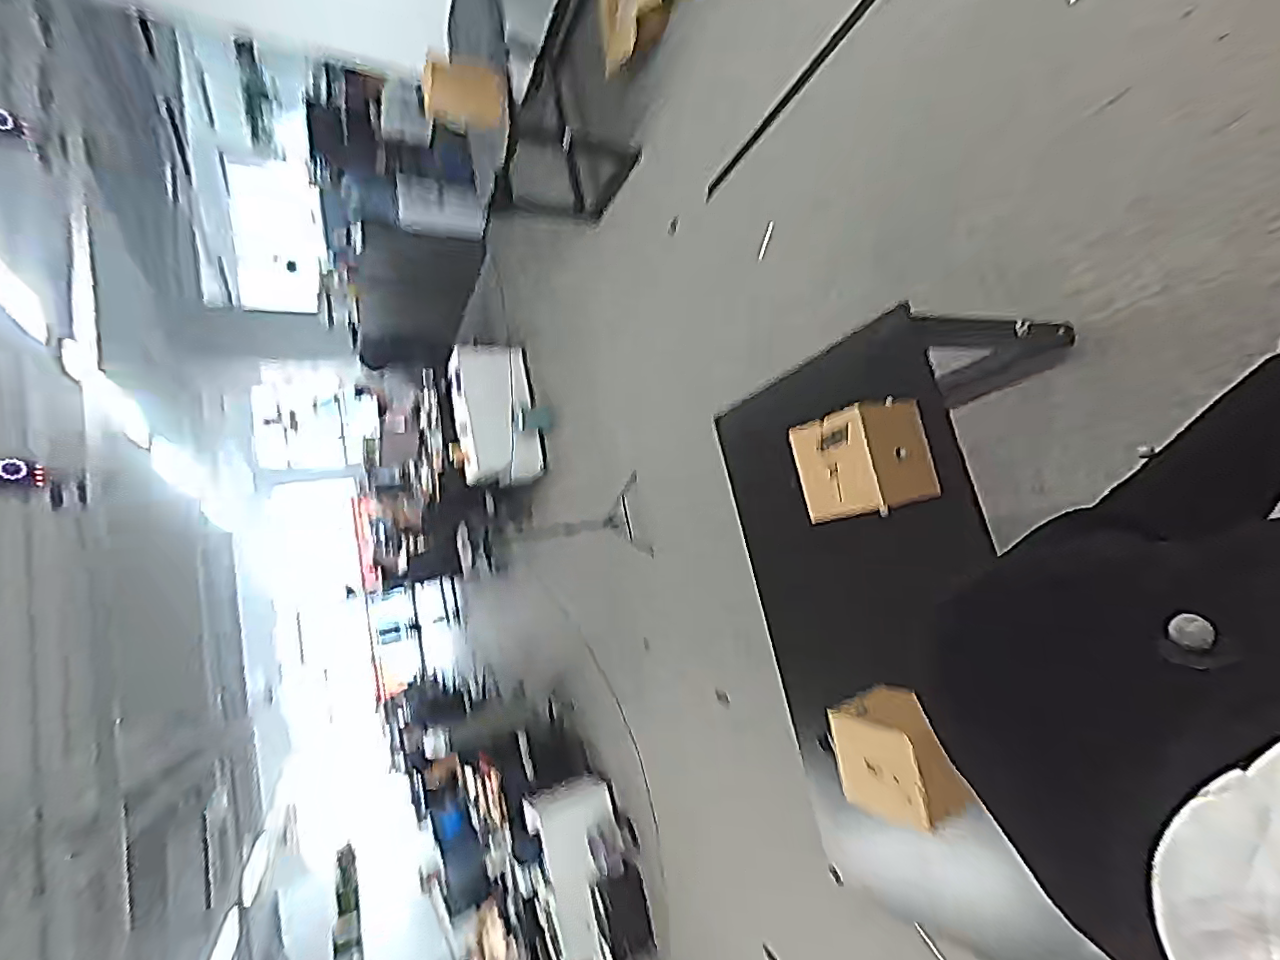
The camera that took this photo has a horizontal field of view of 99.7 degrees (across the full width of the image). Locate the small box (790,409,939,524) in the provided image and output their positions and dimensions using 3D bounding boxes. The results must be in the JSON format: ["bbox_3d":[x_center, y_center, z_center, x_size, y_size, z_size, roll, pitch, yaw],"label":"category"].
[{"bbox_3d":[0.413,-0.027,1.002,0.168,0.176,0.179,-26,76,59],"label":"small box"}]

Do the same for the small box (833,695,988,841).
[{"bbox_3d":[0.493,0.510,0.991,0.179,0.176,0.168,-19,81,59],"label":"small box"}]
